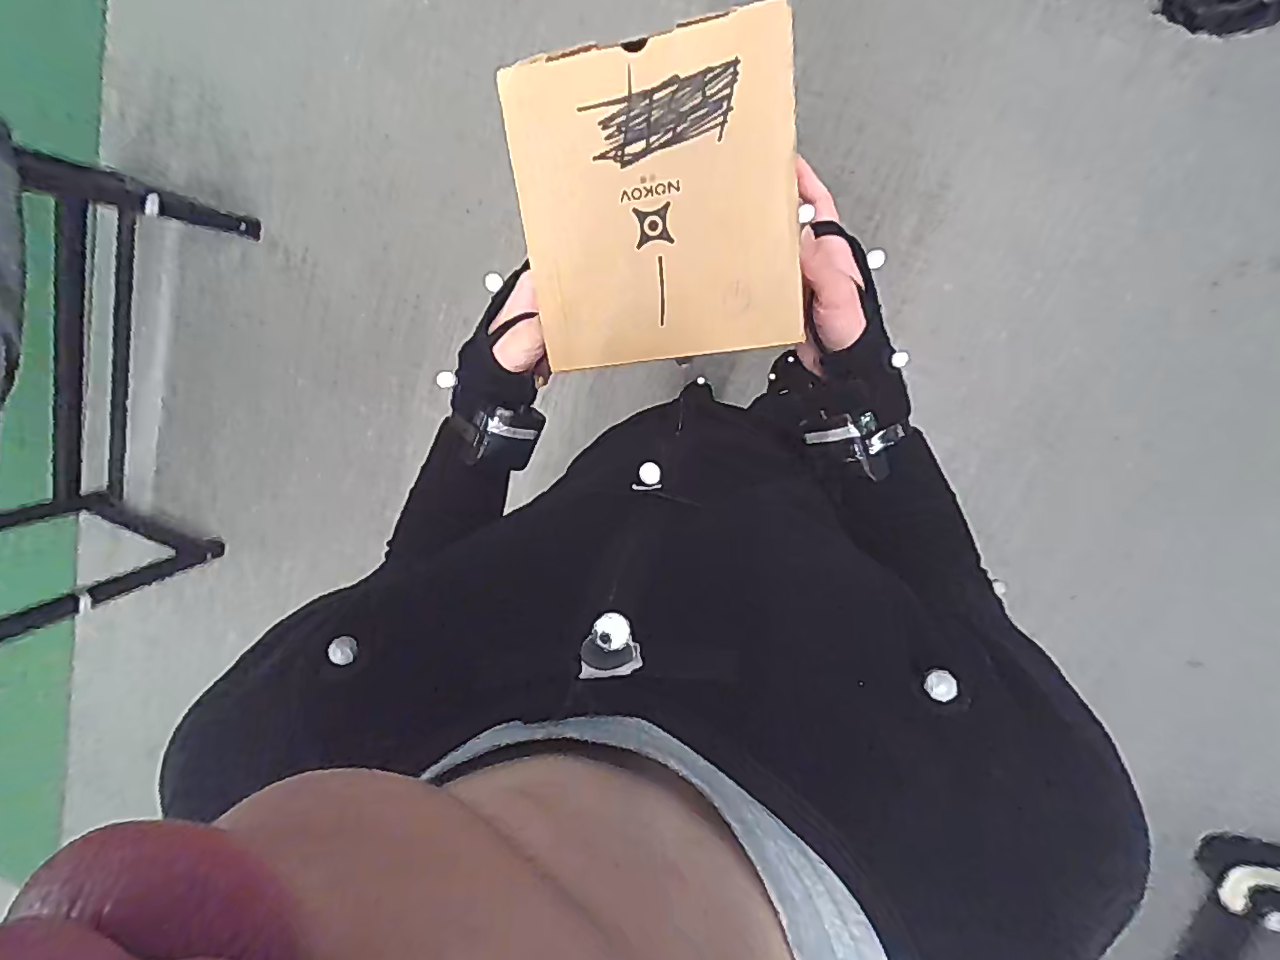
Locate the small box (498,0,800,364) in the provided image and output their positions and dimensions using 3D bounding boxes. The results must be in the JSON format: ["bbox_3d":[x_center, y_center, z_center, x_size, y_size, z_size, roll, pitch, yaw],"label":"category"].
[{"bbox_3d":[0.022,-0.188,0.389,0.168,0.176,0.179,-3,109,13],"label":"small box"}]
